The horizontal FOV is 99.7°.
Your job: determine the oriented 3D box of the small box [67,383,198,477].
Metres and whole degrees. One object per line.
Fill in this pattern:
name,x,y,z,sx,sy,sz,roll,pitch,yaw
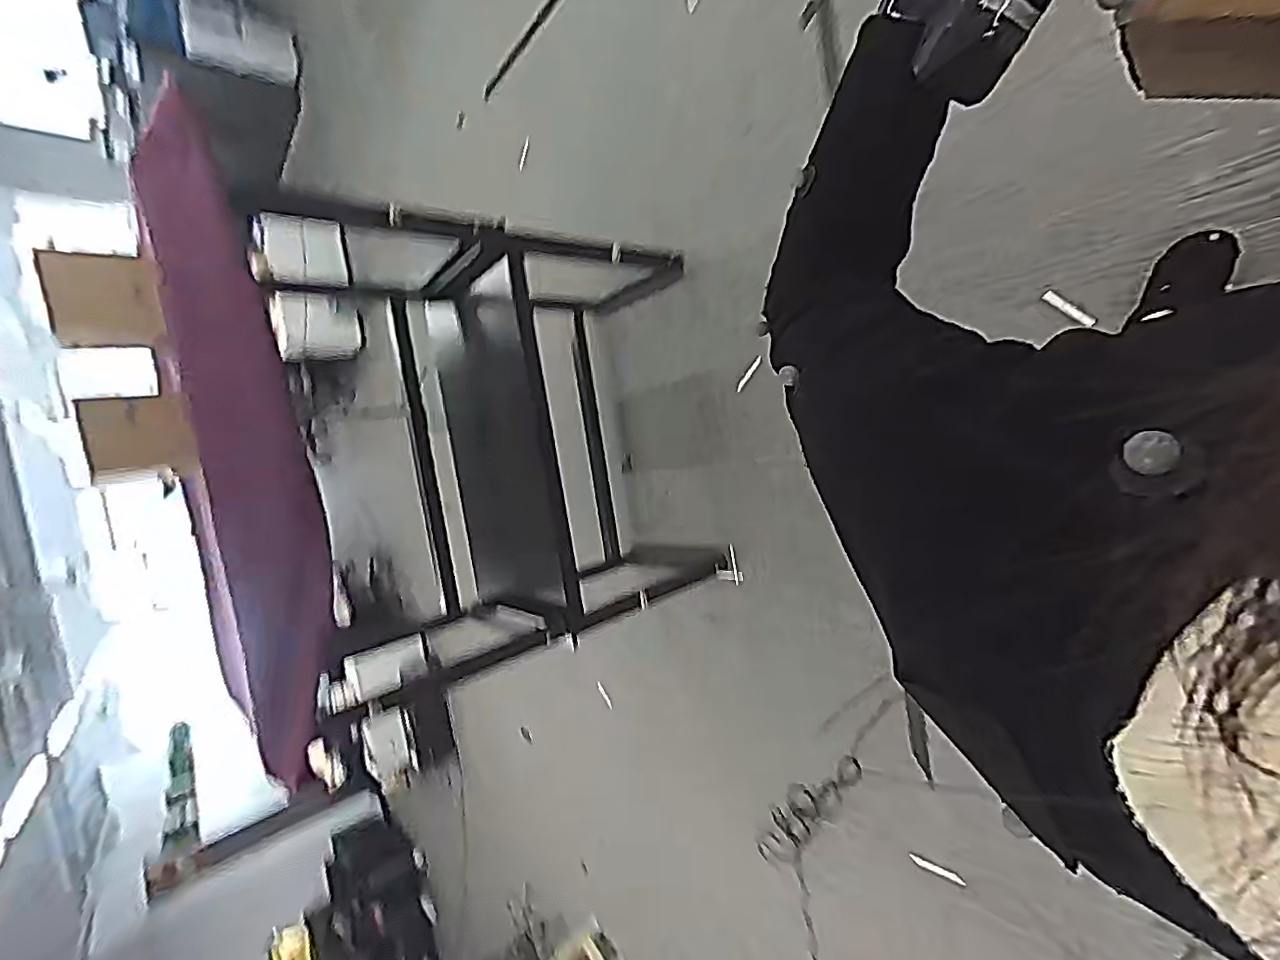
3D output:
small box,-1.055,-0.107,1.133,0.168,0.176,0.179,-3,97,50

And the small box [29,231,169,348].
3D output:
small box,-1.074,-0.370,1.086,0.168,0.176,0.179,-7,94,50
